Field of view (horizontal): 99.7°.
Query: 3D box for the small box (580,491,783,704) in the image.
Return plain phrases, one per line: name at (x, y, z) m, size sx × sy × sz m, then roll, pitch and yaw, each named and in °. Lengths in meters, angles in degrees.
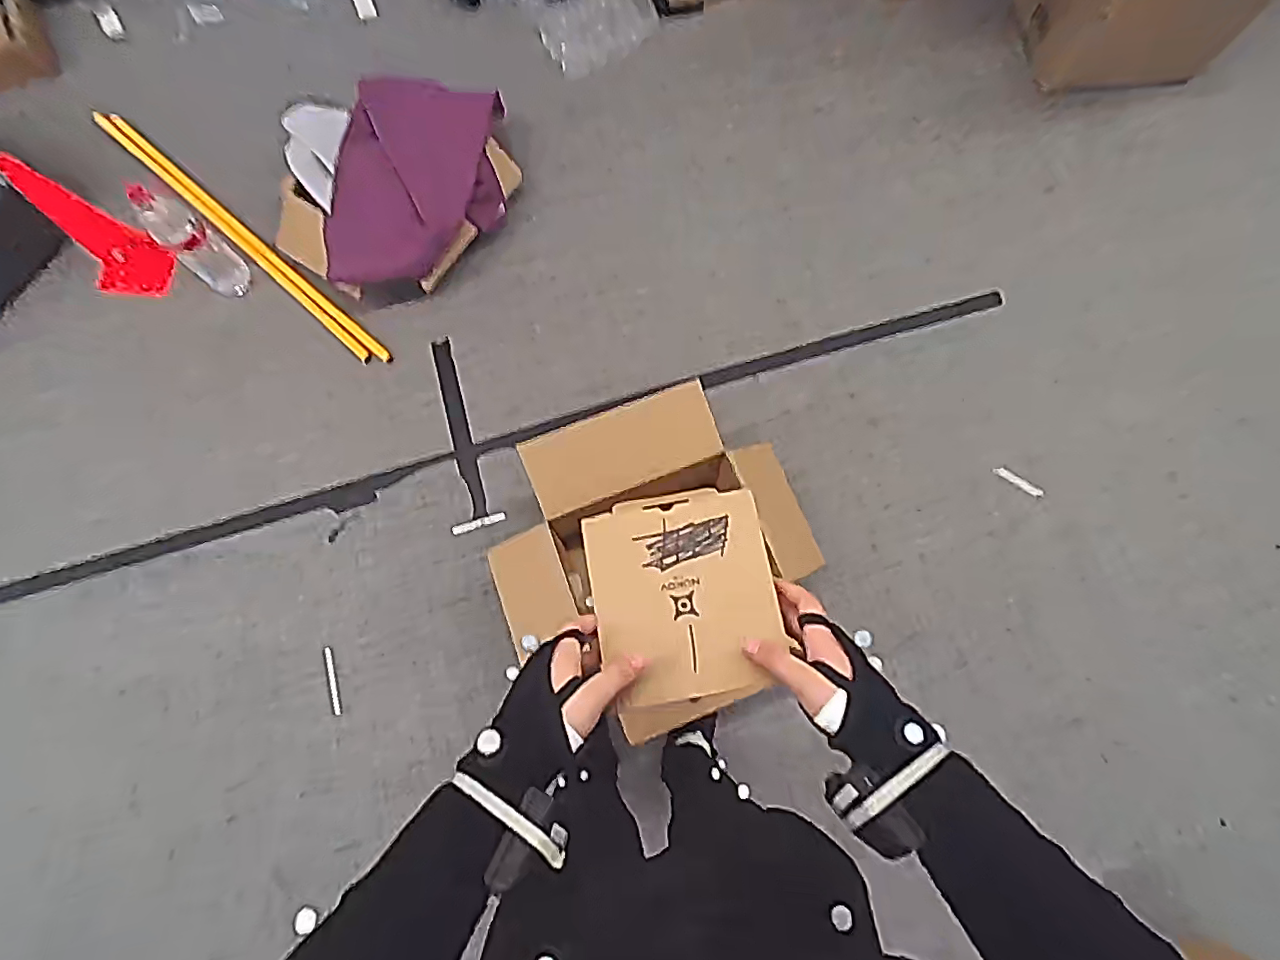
small box at (0.037, 0.126, 0.576) m, size 0.168 × 0.176 × 0.179 m, roll -10°, pitch 74°, yaw 1°
